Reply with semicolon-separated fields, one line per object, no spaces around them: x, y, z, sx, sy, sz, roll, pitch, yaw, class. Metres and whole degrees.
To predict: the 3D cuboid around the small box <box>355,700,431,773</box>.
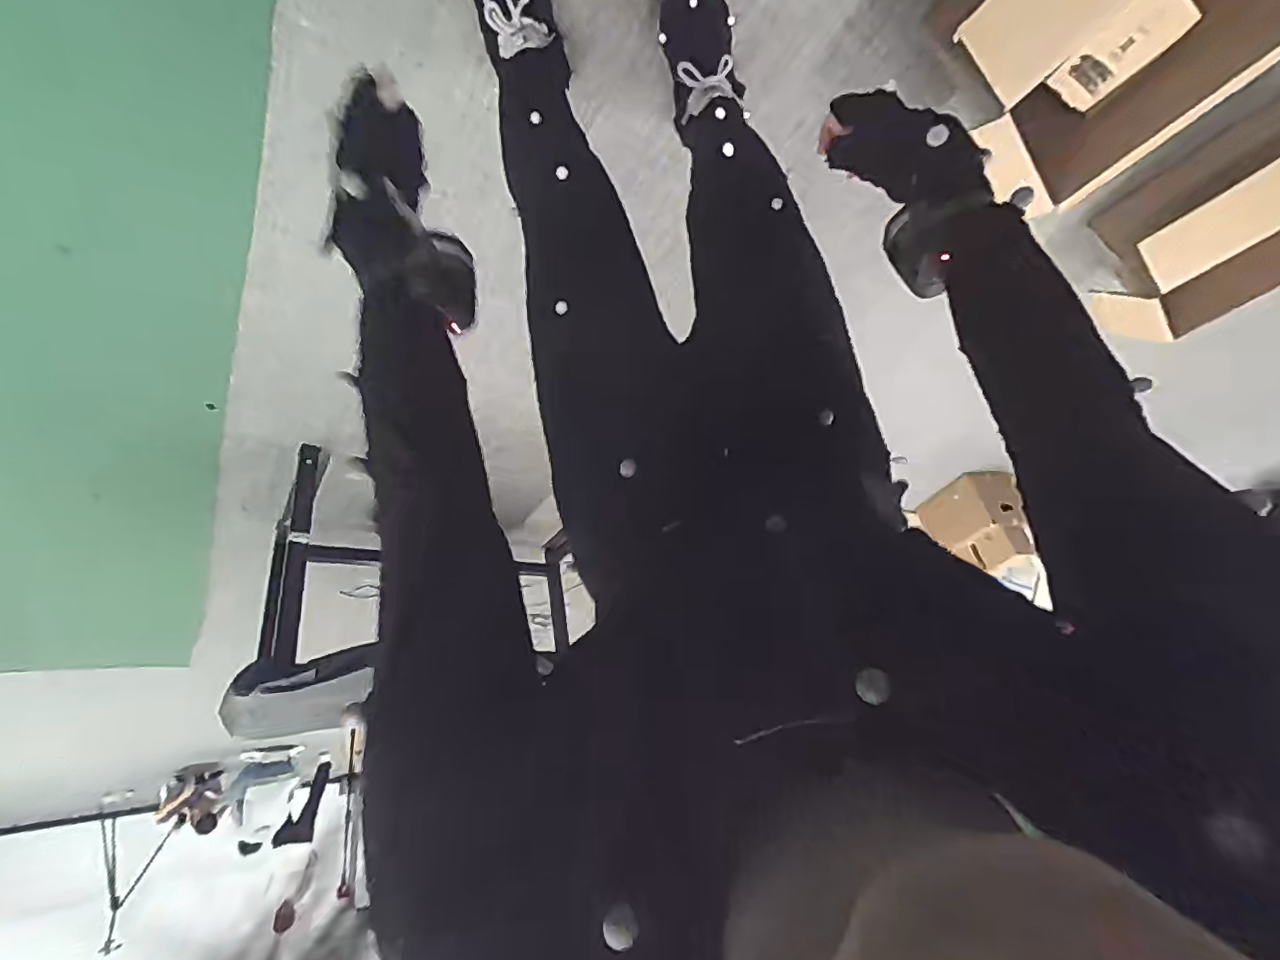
-0.750;0.780;1.650;0.168;0.176;0.179;13;142;-39;small box
